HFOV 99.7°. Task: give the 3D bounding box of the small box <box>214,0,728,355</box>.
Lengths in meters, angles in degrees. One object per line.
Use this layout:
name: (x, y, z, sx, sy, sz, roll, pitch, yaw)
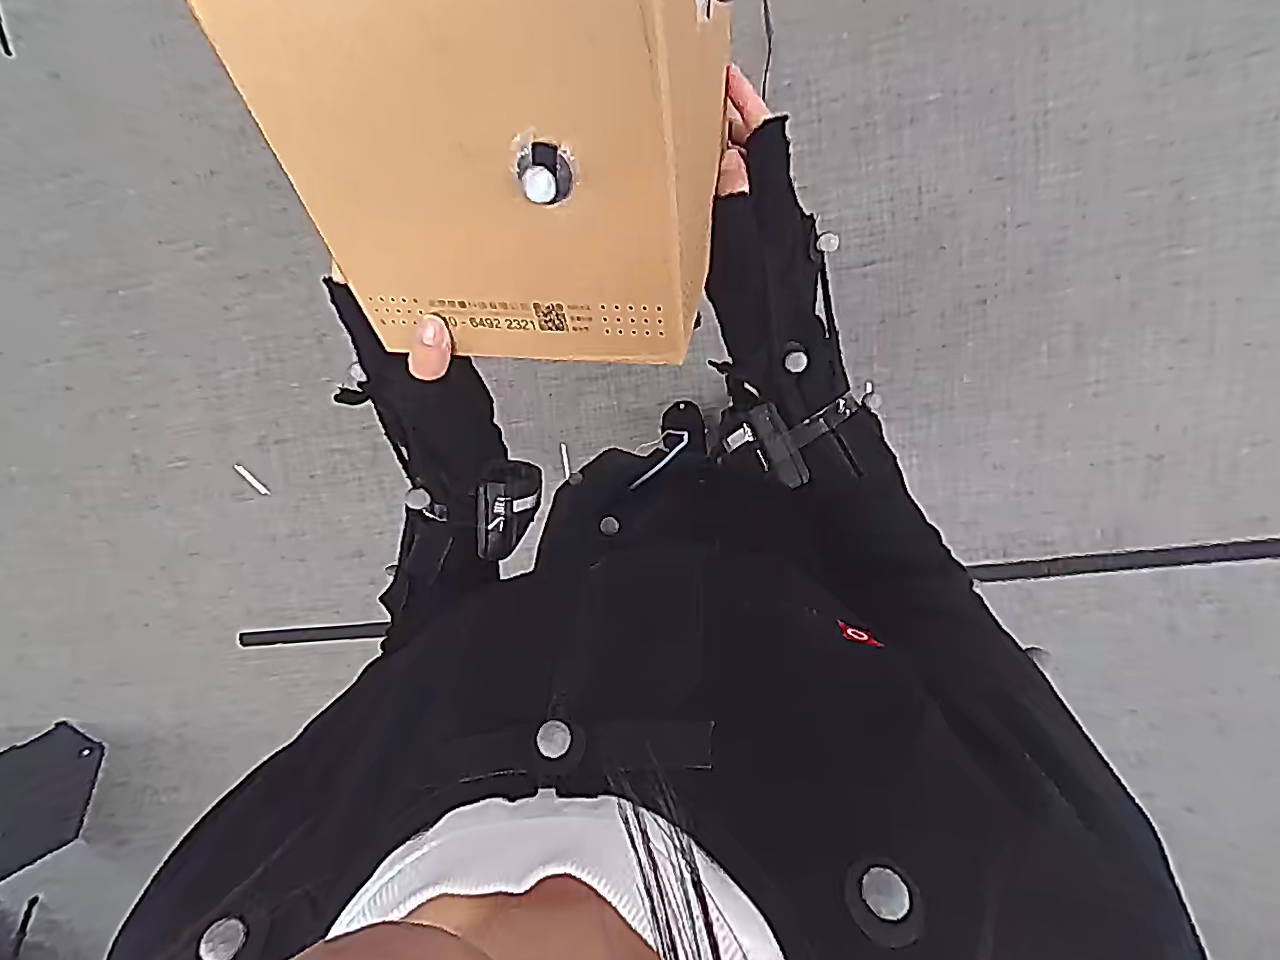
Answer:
small box: (-0.047, -0.183, 0.281, 0.168, 0.179, 0.176, 7, 142, 14)
